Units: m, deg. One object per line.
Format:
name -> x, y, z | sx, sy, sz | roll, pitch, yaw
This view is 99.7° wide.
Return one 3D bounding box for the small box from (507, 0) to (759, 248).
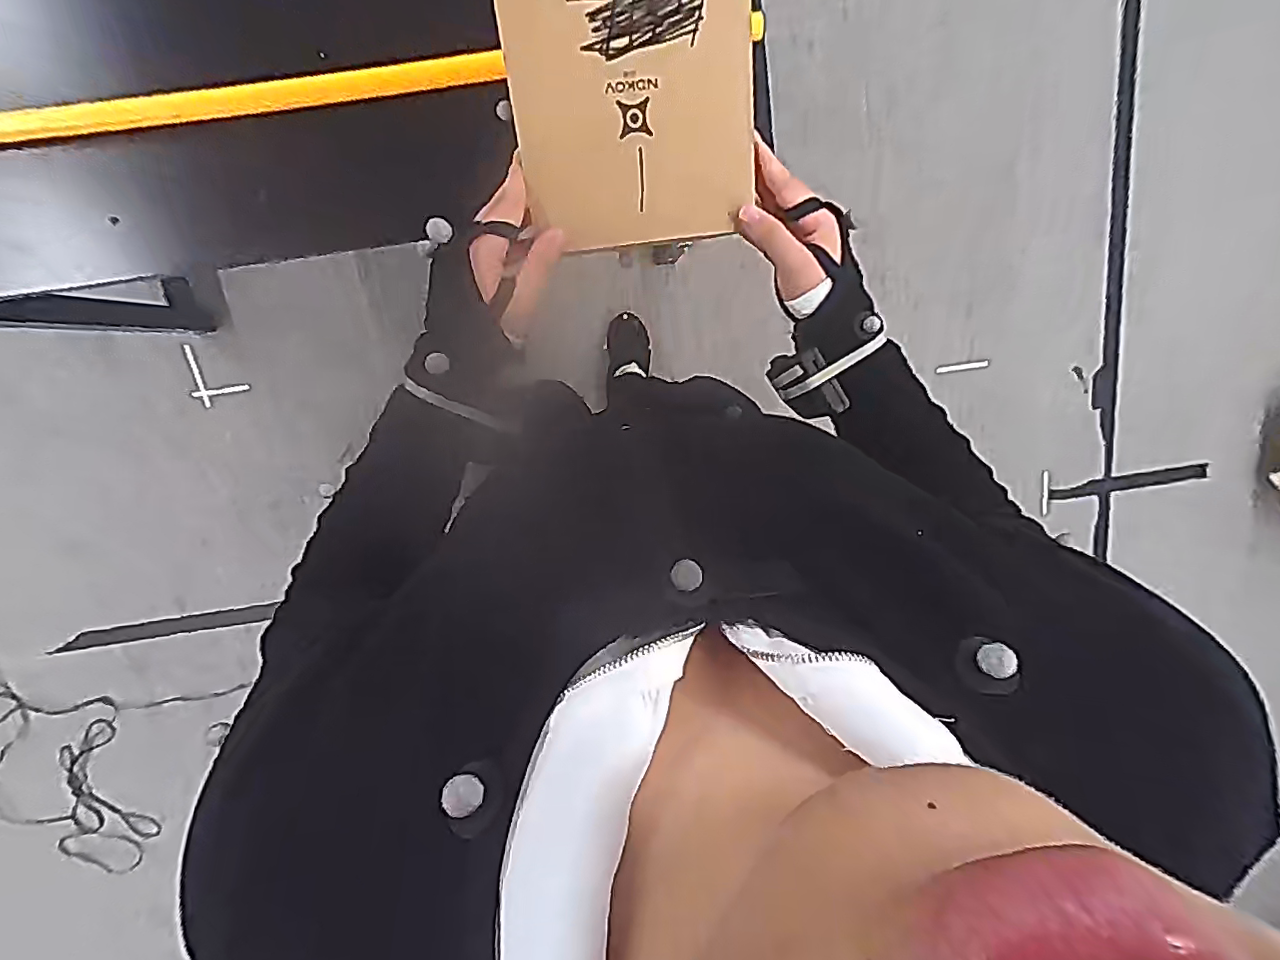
small box -> -0.010, -0.293, 0.441 | 0.168, 0.176, 0.179 | -8, 113, -3
